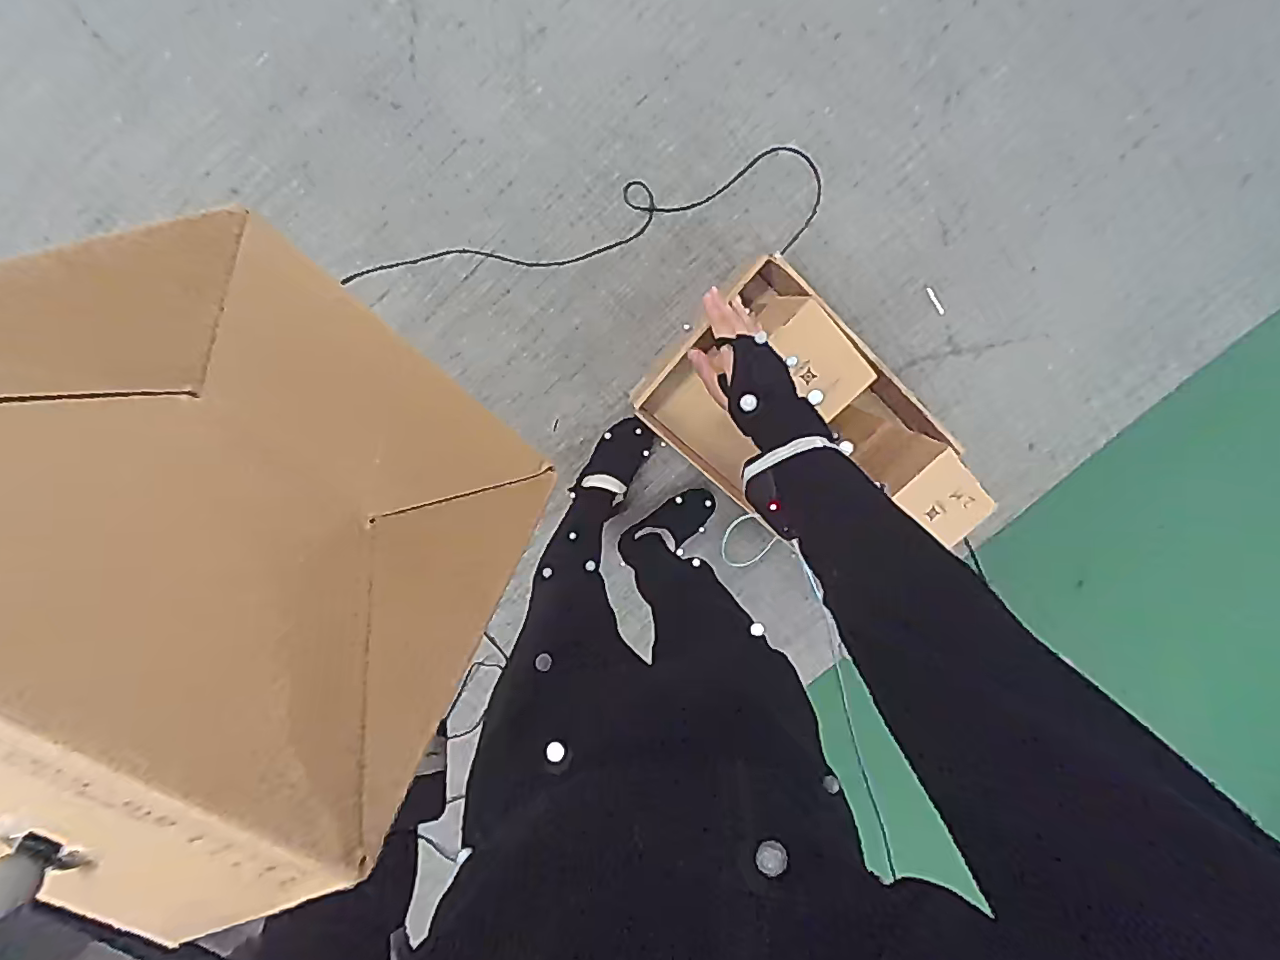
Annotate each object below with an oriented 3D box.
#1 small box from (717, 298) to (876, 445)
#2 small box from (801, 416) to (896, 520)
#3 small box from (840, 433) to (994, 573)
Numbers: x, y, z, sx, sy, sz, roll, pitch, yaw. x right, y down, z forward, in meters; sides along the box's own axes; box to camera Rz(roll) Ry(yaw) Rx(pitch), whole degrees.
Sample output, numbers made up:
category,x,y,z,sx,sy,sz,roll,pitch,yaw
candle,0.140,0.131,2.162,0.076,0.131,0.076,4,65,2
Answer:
category,x,y,z,sx,sy,sz,roll,pitch,yaw
small box,0.258,-0.190,0.936,0.168,0.176,0.179,-43,107,9
small box,0.484,-0.024,1.181,0.168,0.176,0.179,-44,105,8
small box,0.509,0.036,1.029,0.179,0.176,0.168,-44,107,7
